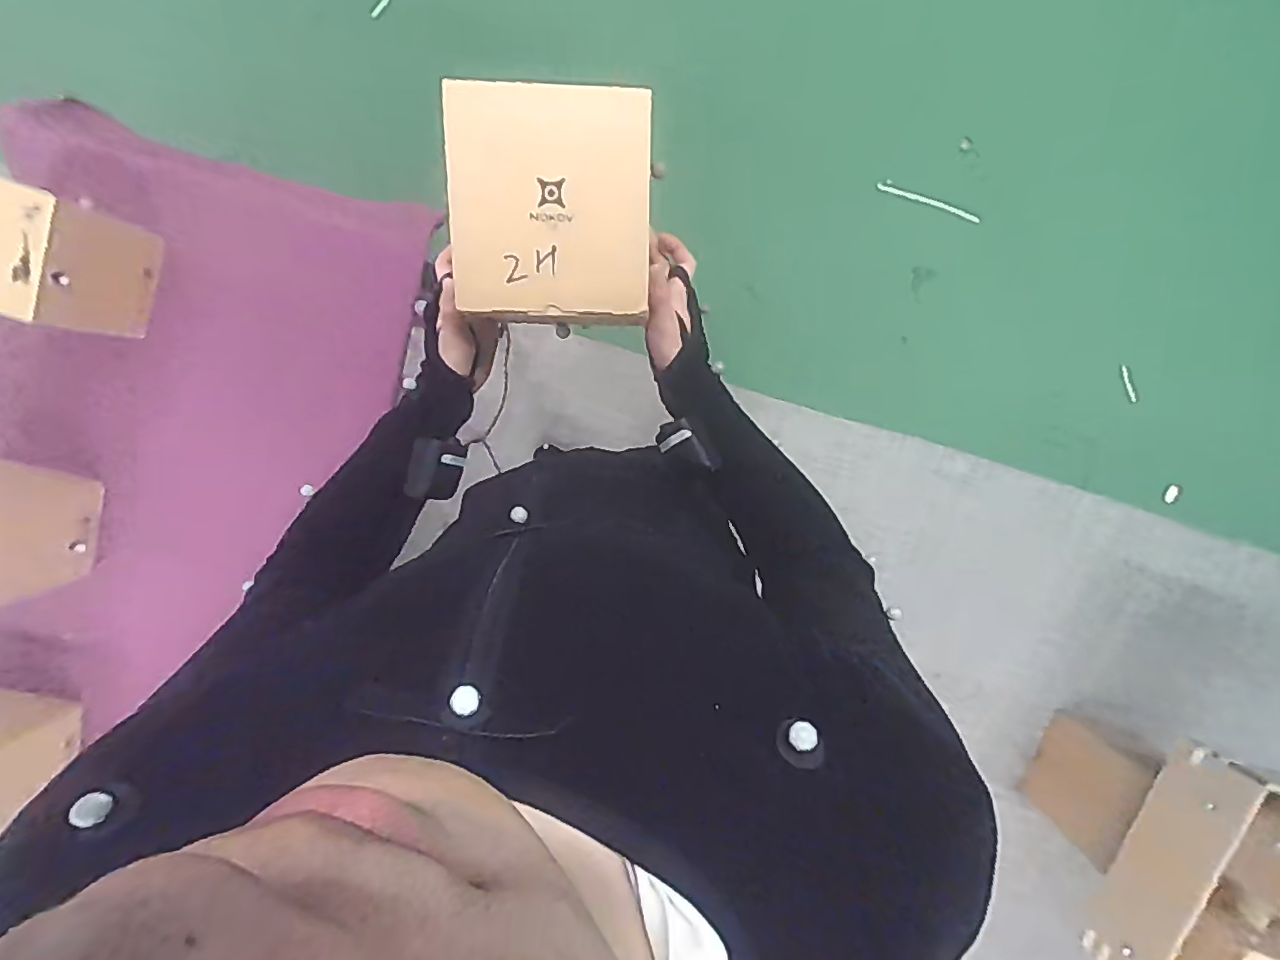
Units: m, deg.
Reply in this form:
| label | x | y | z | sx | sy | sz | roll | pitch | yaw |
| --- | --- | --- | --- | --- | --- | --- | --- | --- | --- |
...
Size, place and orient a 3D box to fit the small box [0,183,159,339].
| label | x | y | z | sx | sy | sz | roll | pitch | yaw |
| --- | --- | --- | --- | --- | --- | --- | --- | --- | --- |
| small box | -0.844 | -0.308 | 0.755 | 0.179 | 0.176 | 0.168 | 18 | 96 | -3 |

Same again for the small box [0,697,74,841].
| label | x | y | z | sx | sy | sz | roll | pitch | yaw |
| --- | --- | --- | --- | --- | --- | --- | --- | --- | --- |
| small box | -1.047 | 0.459 | 0.838 | 0.179 | 0.176 | 0.168 | 11 | 96 | -1 |

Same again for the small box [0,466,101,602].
| label | x | y | z | sx | sy | sz | roll | pitch | yaw |
| --- | --- | --- | --- | --- | --- | --- | --- | --- | --- |
| small box | -0.973 | 0.080 | 0.798 | 0.179 | 0.176 | 0.168 | 14 | 97 | -3 |

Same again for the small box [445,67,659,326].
| label | x | y | z | sx | sy | sz | roll | pitch | yaw |
| --- | --- | --- | --- | --- | --- | --- | --- | --- | --- |
| small box | -0.075 | -0.243 | 0.509 | 0.168 | 0.176 | 0.179 | 1 | 104 | -3 |

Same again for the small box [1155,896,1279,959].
| label | x | y | z | sx | sy | sz | roll | pitch | yaw |
| --- | --- | --- | --- | --- | --- | --- | --- | --- | --- |
| small box | 1.388 | 1.128 | 1.263 | 0.179 | 0.176 | 0.168 | 22 | 96 | -2 |
